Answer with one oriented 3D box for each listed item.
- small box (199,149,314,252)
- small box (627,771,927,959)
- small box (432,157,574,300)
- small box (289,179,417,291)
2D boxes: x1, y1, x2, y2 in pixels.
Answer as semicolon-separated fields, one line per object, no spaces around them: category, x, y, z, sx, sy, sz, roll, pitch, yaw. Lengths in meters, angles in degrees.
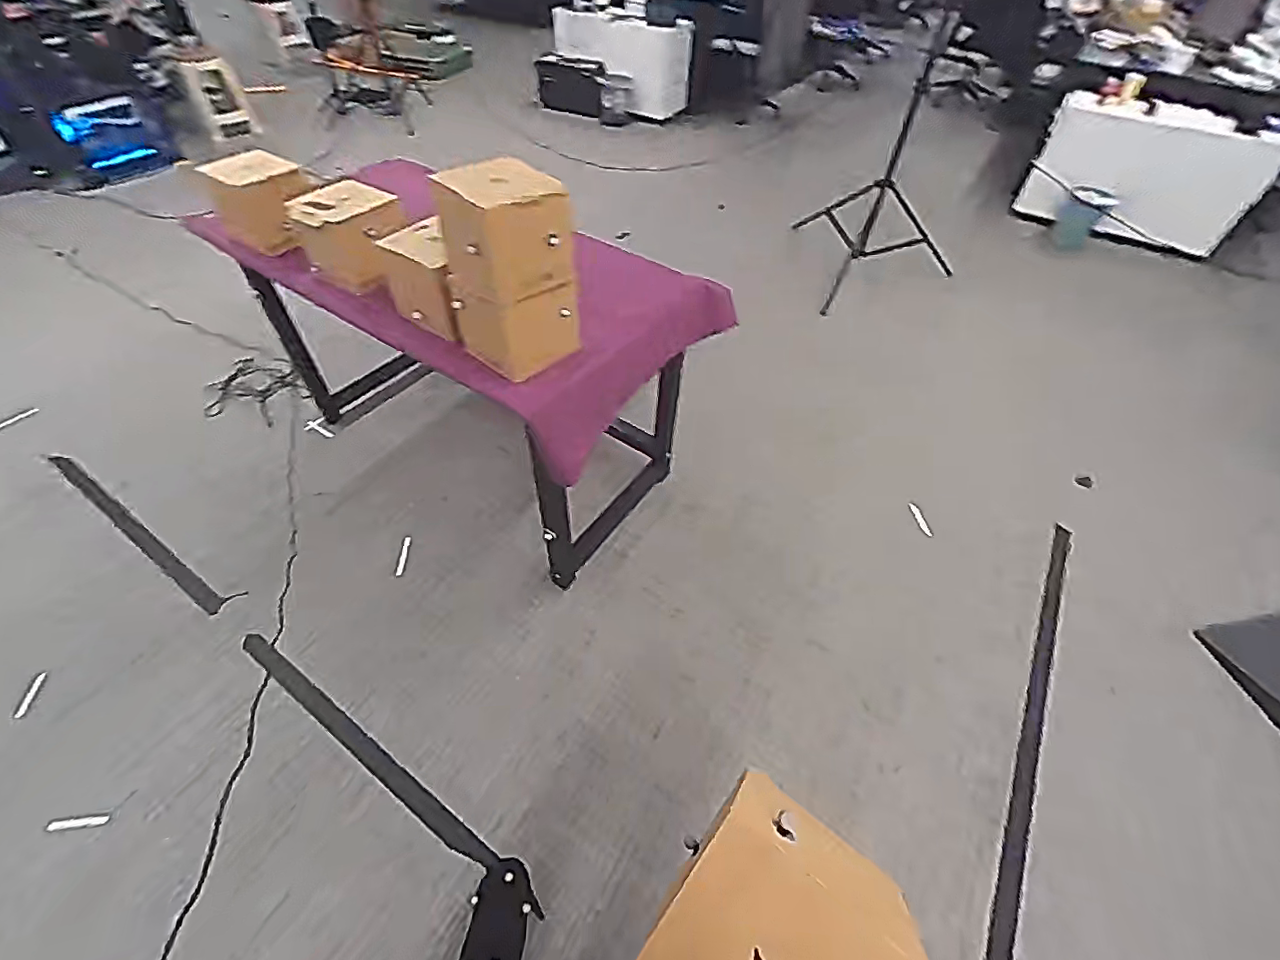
small box;-0.931;-0.695;1.350;0.179;0.176;0.168;27;54;19
small box;0.119;0.396;0.490;0.179;0.176;0.168;31;86;21
small box;-0.229;-0.435;0.945;0.168;0.176;0.179;-34;57;-30
small box;-0.651;-0.563;1.249;0.168;0.176;0.179;27;53;19
